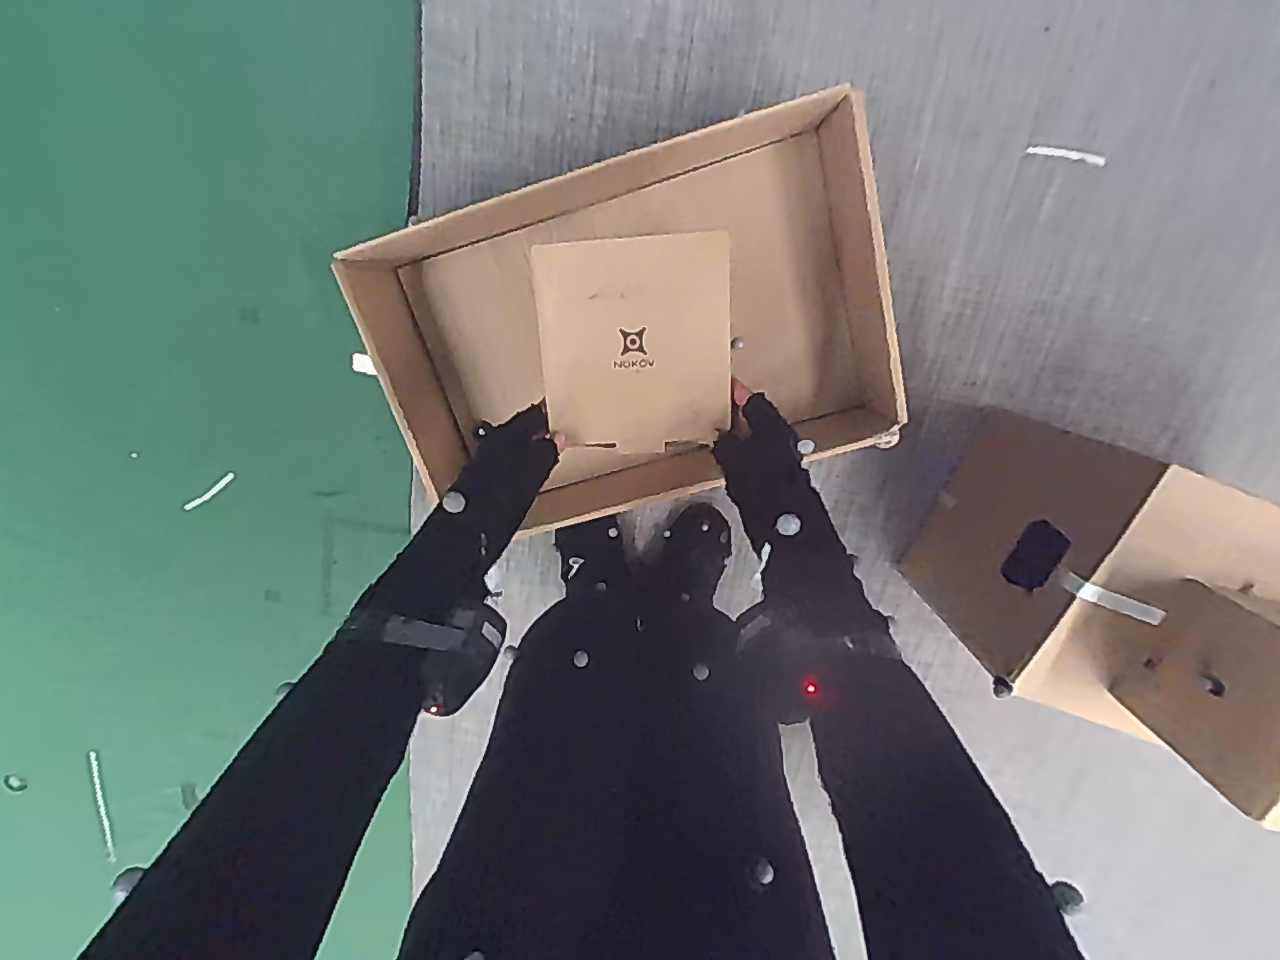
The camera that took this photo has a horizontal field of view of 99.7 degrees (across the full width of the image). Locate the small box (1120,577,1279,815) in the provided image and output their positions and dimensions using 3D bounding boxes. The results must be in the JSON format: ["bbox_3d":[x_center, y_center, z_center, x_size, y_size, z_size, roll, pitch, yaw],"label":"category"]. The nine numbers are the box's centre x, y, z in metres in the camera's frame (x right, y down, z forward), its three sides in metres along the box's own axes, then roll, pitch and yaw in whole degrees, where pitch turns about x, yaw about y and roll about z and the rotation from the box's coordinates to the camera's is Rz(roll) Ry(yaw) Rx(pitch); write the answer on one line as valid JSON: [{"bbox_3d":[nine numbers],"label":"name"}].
[{"bbox_3d":[0.660,0.219,0.546,0.179,0.176,0.168,15,110,-3],"label":"small box"}]

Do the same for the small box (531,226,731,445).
[{"bbox_3d":[0.004,-0.142,0.539,0.168,0.176,0.179,-3,107,7],"label":"small box"}]
